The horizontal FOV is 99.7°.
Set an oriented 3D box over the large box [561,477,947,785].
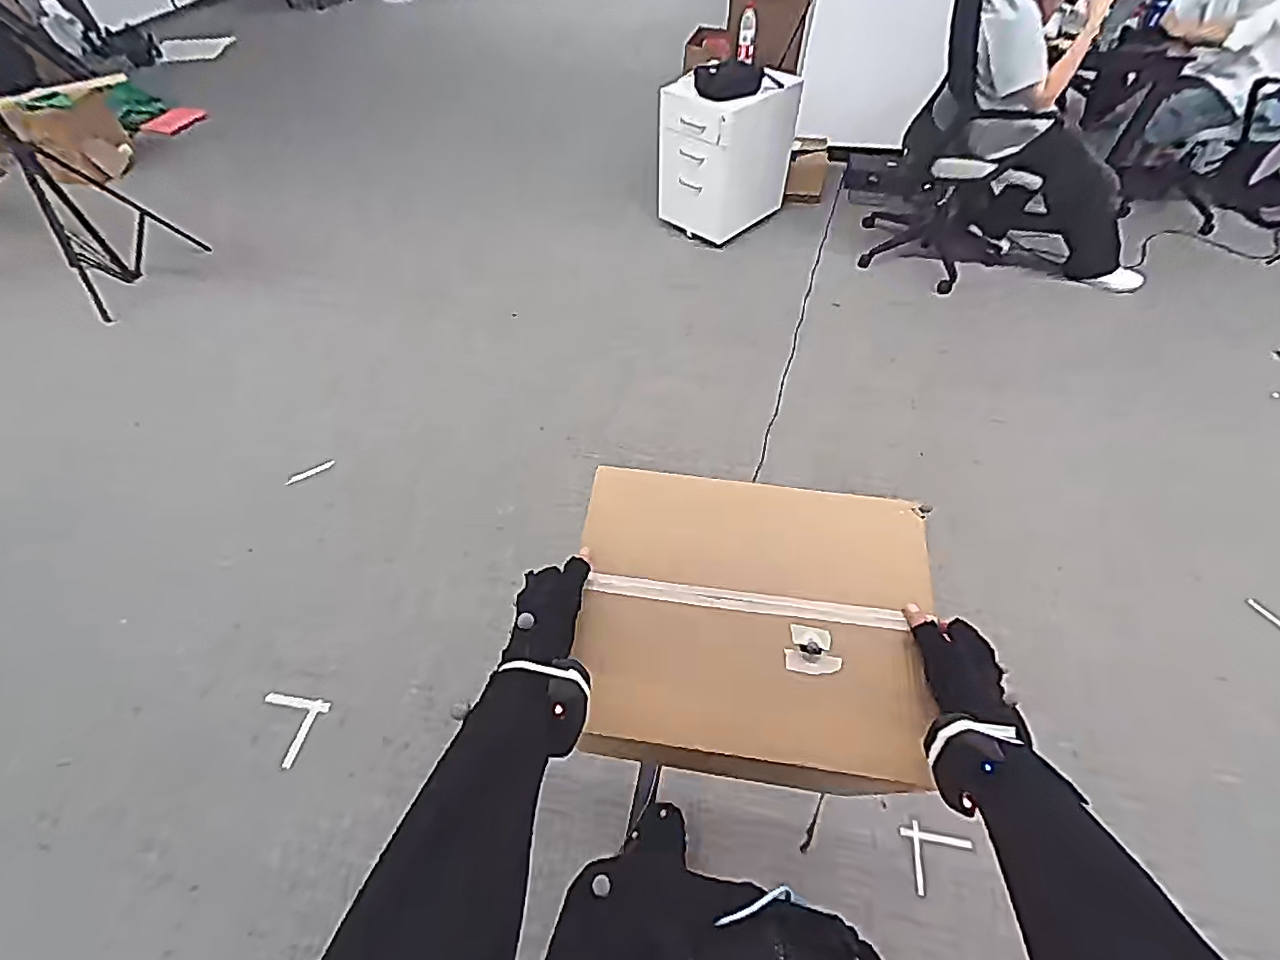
[{"bbox_3d":[0.130,0.220,0.755,0.408,0.320,0.320,7,60,4],"label":"large box"}]
